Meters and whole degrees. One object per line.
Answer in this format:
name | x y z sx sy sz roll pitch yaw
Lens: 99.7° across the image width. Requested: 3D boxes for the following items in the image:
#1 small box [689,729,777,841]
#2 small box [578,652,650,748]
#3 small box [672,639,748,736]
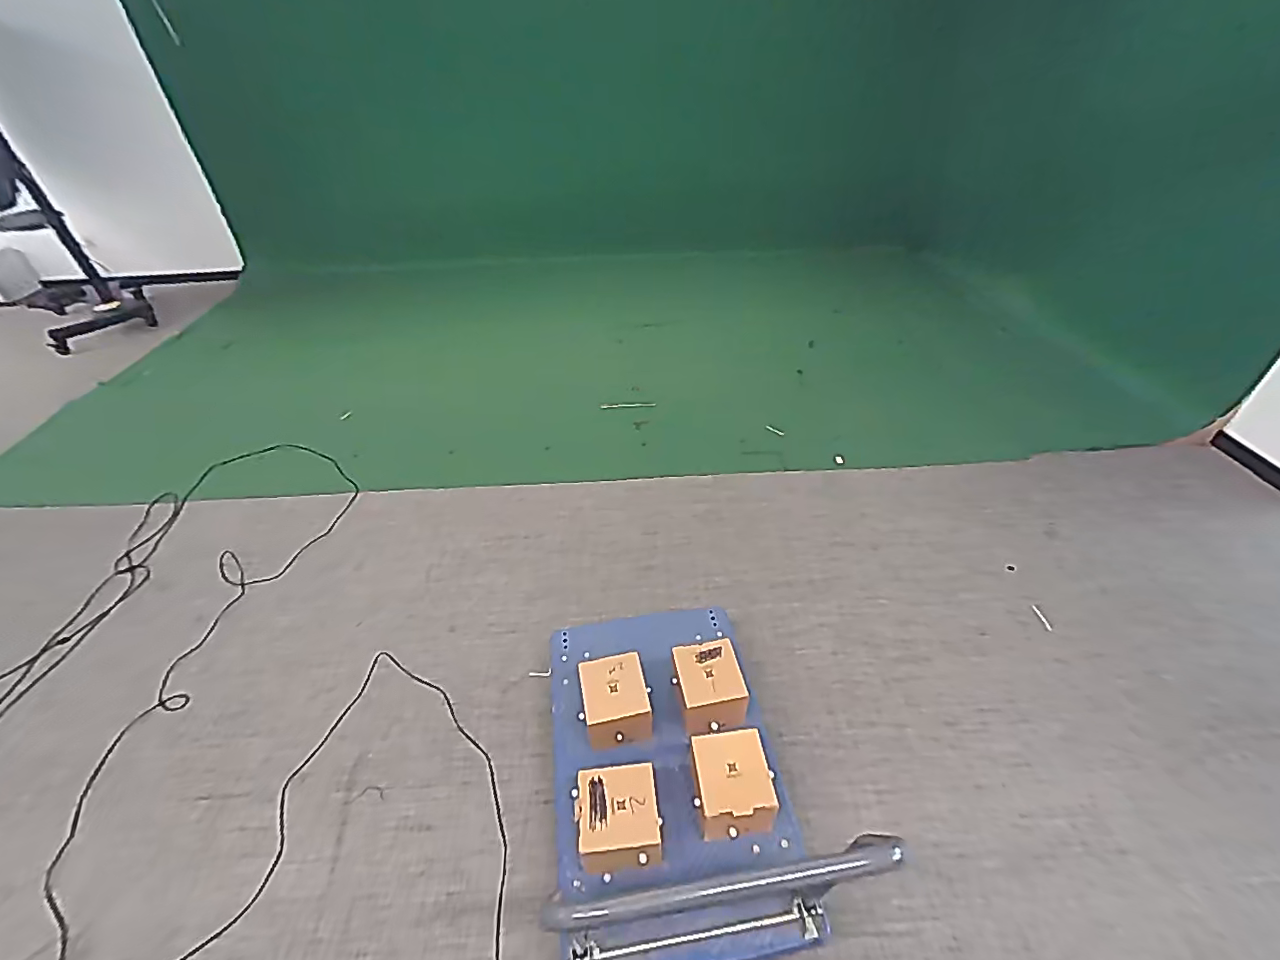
small box | 0.213 0.729 1.293 0.168 0.176 0.179 -6 40 -4
small box | -0.069 0.596 1.454 0.168 0.176 0.179 -8 41 -9
small box | 0.184 0.567 1.479 0.168 0.176 0.179 -8 42 -6
